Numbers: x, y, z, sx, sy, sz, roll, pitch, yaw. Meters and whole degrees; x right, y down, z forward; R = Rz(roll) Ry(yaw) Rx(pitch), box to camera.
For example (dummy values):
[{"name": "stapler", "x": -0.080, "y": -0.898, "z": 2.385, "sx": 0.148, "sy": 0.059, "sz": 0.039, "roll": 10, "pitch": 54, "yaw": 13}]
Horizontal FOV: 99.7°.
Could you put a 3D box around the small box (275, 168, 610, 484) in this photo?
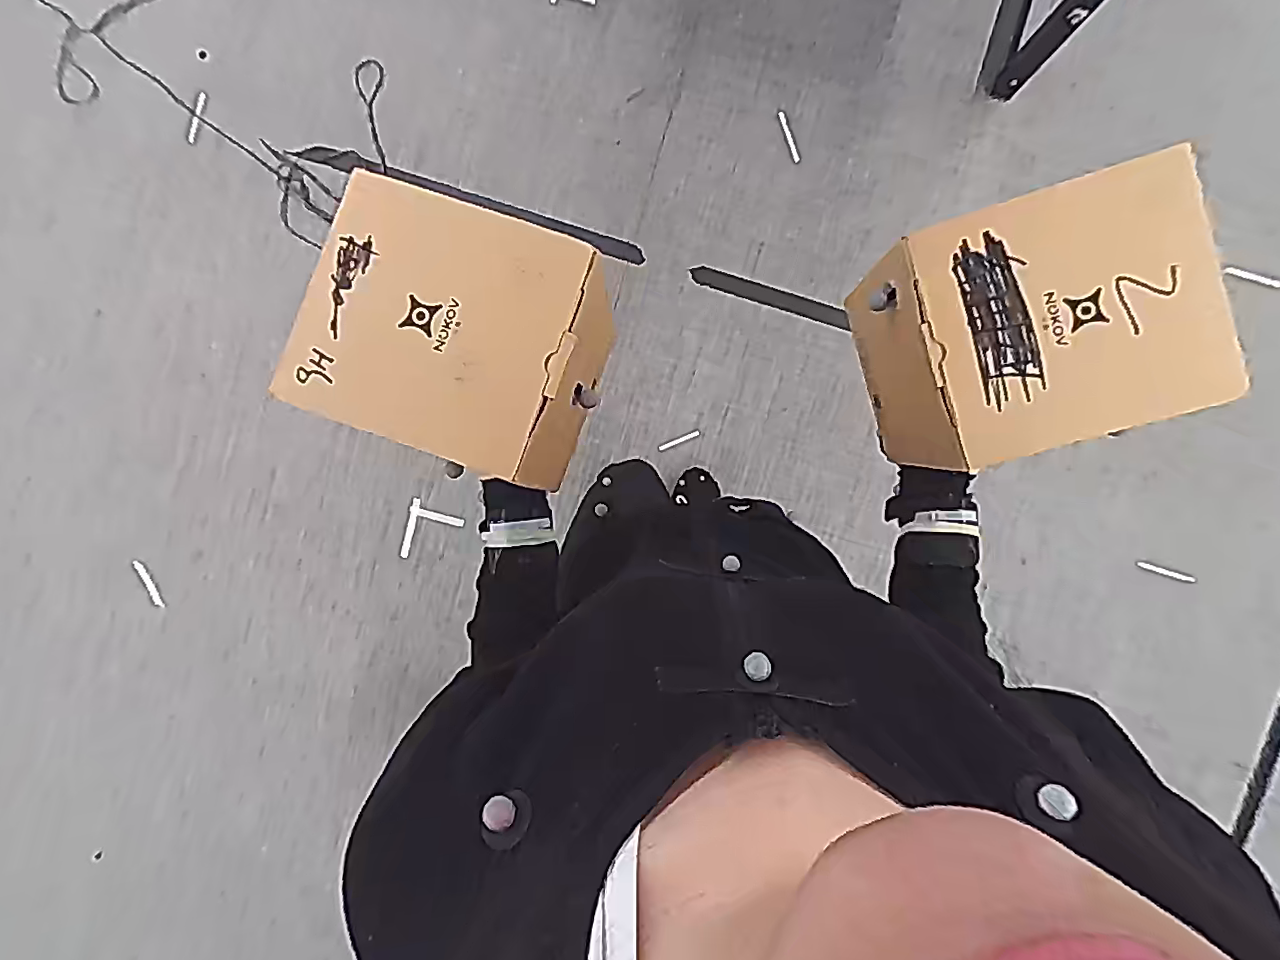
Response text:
[{"name": "small box", "x": -0.130, "y": -0.100, "z": 0.433, "sx": 0.179, "sy": 0.176, "sz": 0.168, "roll": 19, "pitch": 87, "yaw": 1}]
